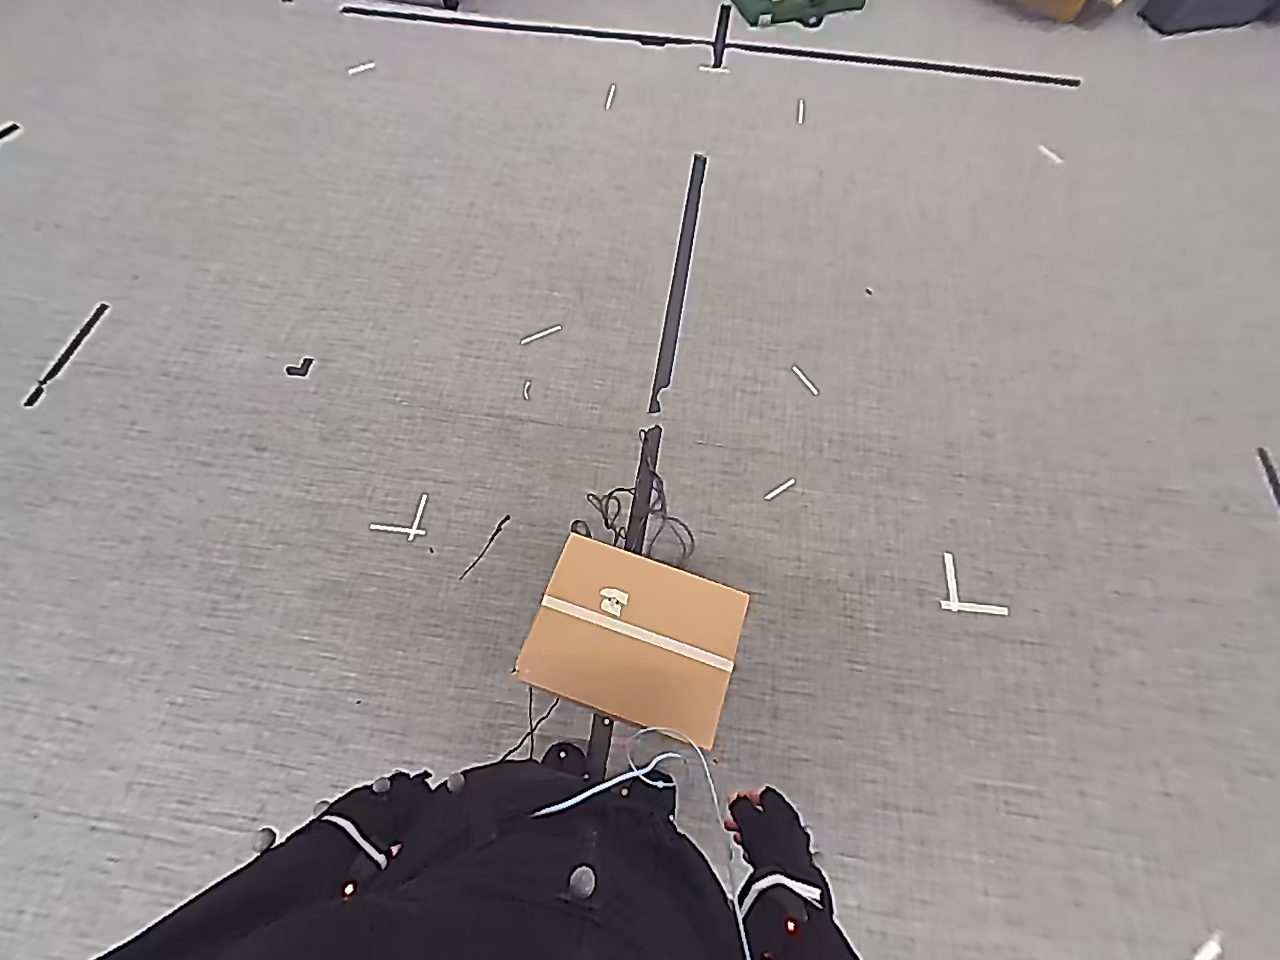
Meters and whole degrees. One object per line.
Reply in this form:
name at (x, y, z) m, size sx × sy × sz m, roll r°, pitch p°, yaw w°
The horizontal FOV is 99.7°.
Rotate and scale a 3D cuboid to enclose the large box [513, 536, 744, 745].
large box at (-0.018, 0.371, 1.227) m, size 0.408 × 0.320 × 0.320 m, roll 19°, pitch 65°, yaw 6°
